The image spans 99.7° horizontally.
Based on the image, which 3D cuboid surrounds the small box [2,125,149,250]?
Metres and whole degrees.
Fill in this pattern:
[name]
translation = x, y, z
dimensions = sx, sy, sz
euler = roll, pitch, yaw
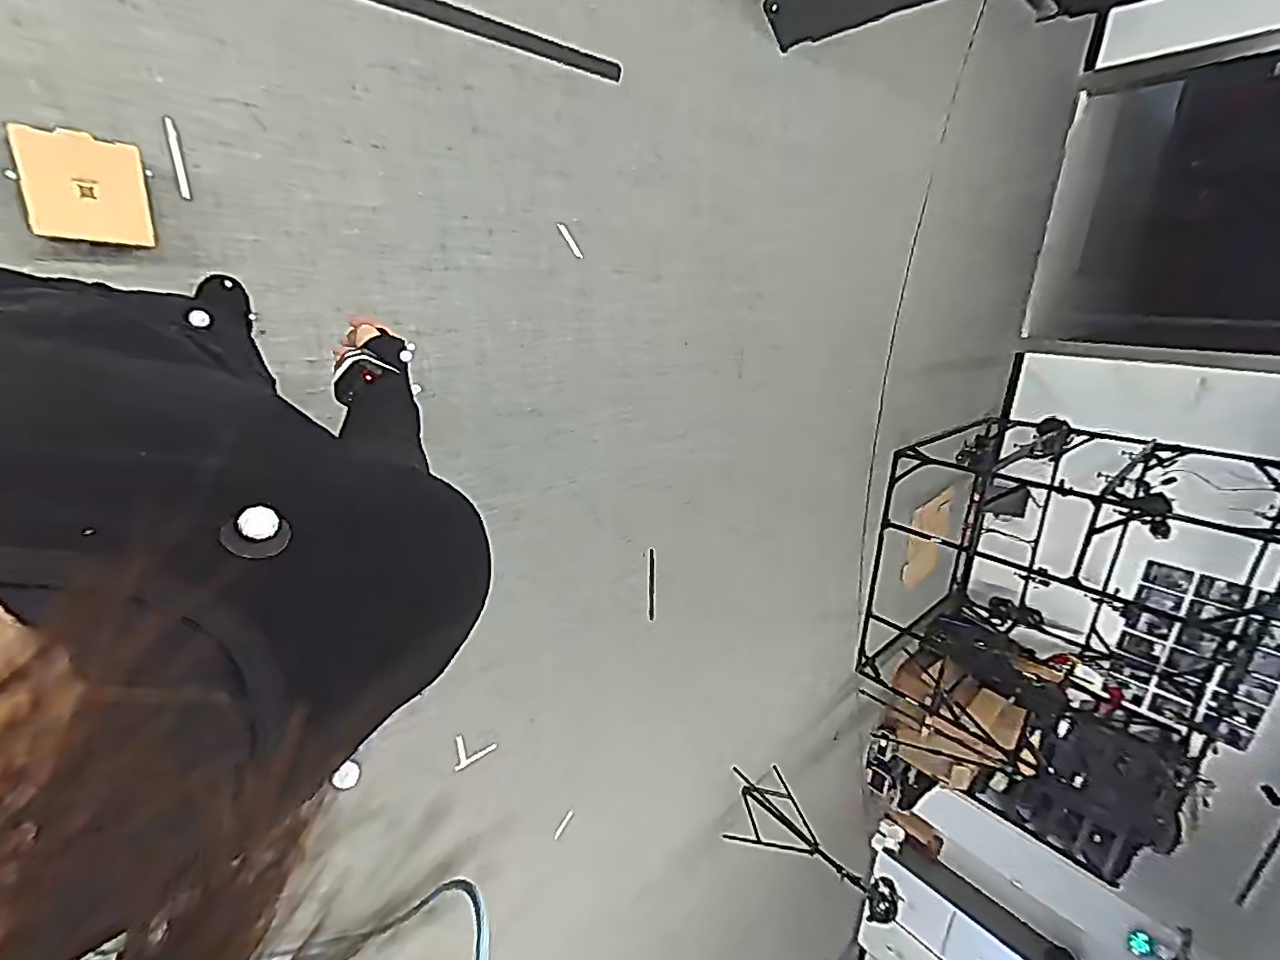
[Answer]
[small box]
translation = -1.060, -0.543, 1.032
dimensions = 0.168, 0.176, 0.179
euler = -12, 113, -40
